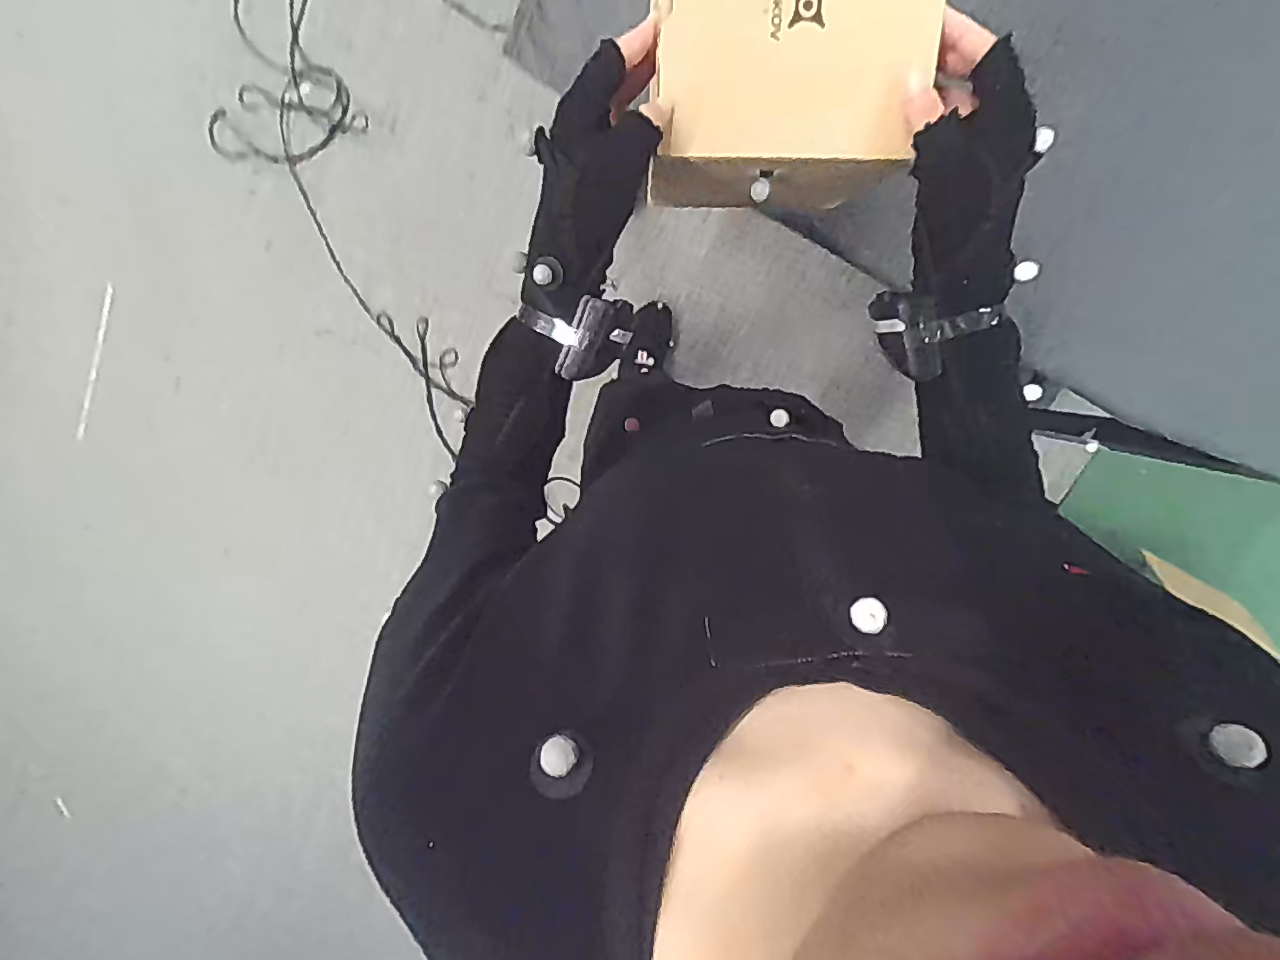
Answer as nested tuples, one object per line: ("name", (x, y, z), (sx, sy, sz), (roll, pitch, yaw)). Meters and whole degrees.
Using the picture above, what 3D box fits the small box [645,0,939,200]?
("small box", (0.094, -0.314, 0.398), (0.179, 0.176, 0.168), (1, 107, 1))
